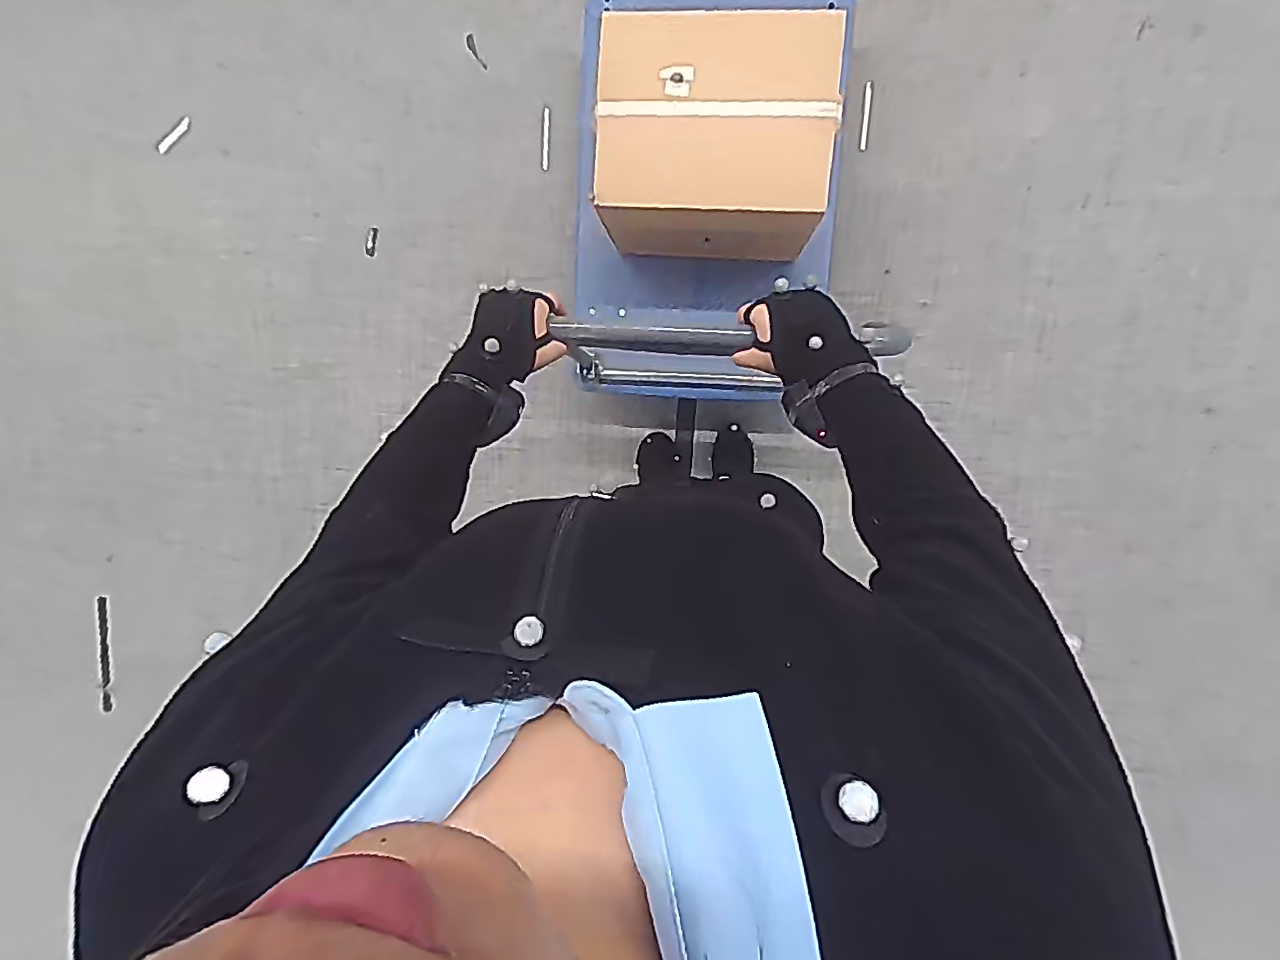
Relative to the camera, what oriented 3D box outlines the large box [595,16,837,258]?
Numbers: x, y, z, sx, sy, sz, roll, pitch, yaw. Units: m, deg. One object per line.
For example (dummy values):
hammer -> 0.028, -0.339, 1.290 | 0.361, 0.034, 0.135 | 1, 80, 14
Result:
large box -> 0.143, -0.643, 1.078 | 0.408, 0.320, 0.320 | 4, 97, 7
